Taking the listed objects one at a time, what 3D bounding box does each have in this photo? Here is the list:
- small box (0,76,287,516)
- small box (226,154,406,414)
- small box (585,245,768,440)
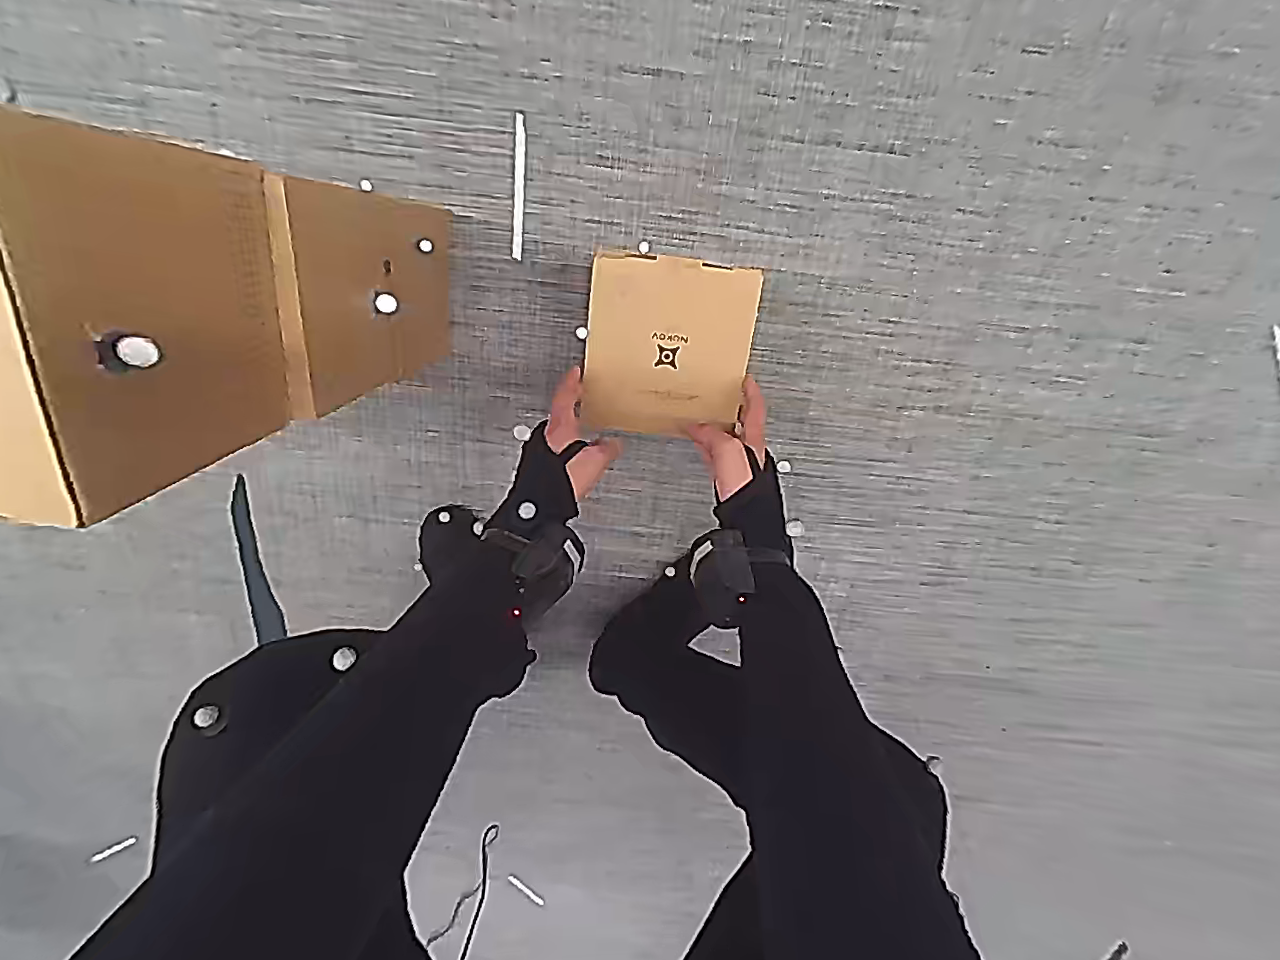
[{"bbox_3d":[-0.322,-0.104,0.283,0.168,0.176,0.179,8,114,-3],"label":"small box"},{"bbox_3d":[-0.312,-0.163,0.436,0.179,0.176,0.168,6,114,-3],"label":"small box"},{"bbox_3d":[0.034,-0.160,0.613,0.168,0.176,0.179,6,112,-1],"label":"small box"}]
